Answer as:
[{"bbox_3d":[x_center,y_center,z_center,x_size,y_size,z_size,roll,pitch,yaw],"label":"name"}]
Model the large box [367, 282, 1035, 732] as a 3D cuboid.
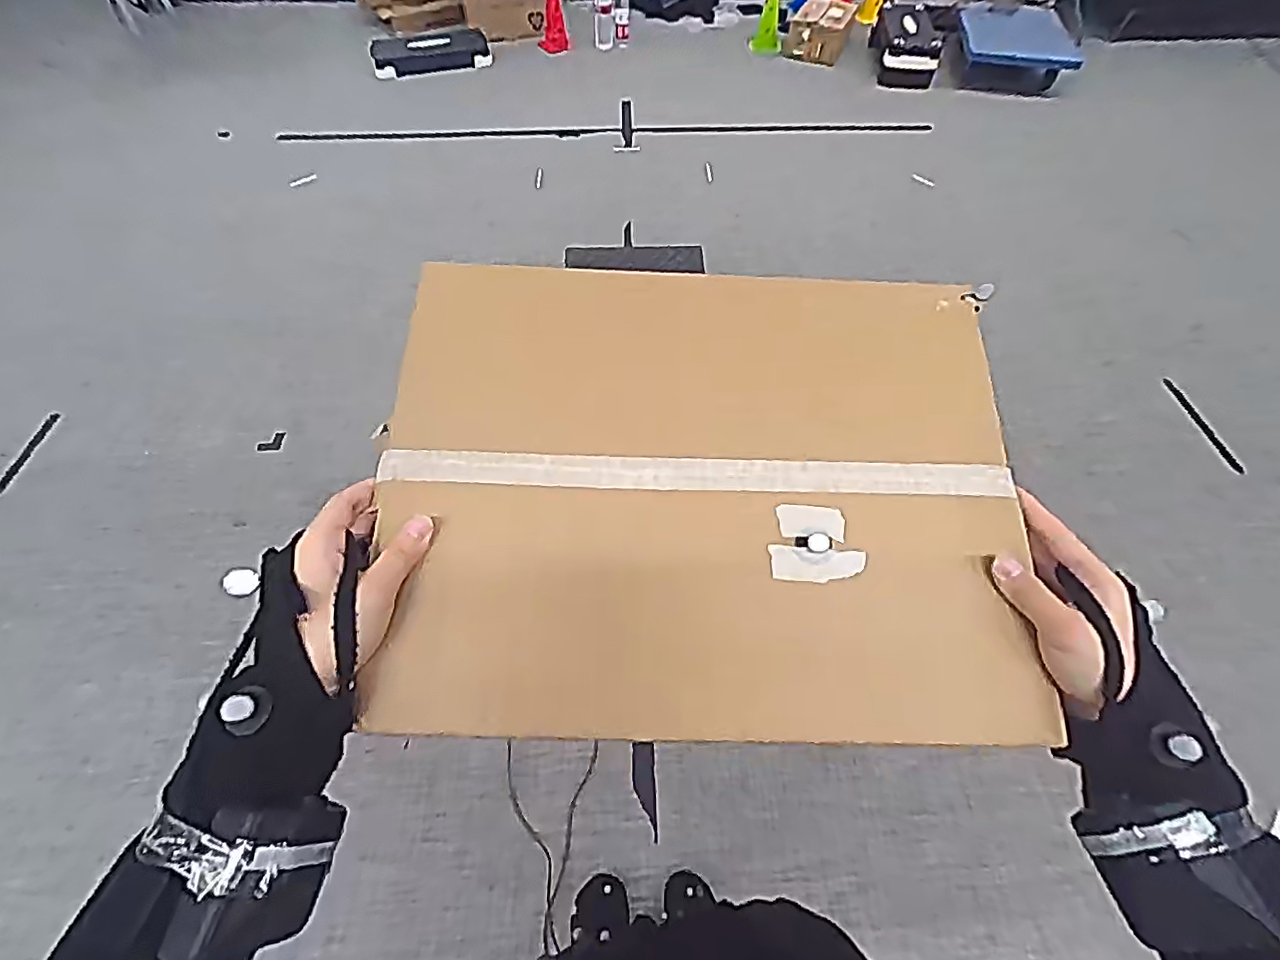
[{"bbox_3d":[0.033,0.047,0.503,0.408,0.320,0.320,2,72,-2],"label":"large box"}]
